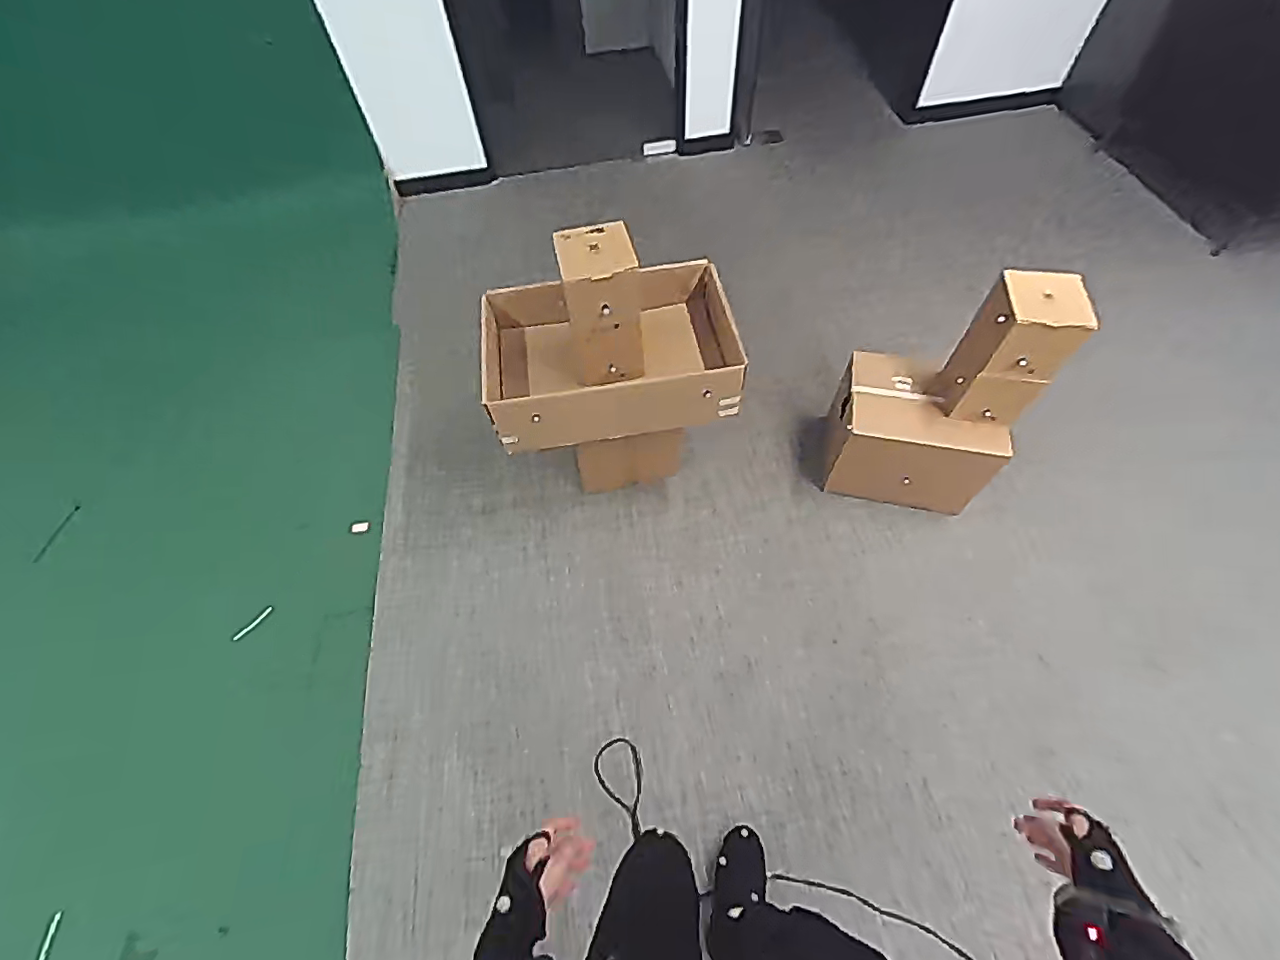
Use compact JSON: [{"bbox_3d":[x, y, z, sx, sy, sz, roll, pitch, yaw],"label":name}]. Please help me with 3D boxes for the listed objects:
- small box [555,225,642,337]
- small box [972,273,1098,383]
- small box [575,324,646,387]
[{"bbox_3d":[-0.092,-0.451,1.248,0.168,0.176,0.179,-12,59,-4],"label":"small box"},{"bbox_3d":[0.907,-0.354,1.264,0.168,0.176,0.179,7,59,7],"label":"small box"},{"bbox_3d":[-0.080,-0.366,1.388,0.168,0.176,0.179,-10,59,-3],"label":"small box"}]
